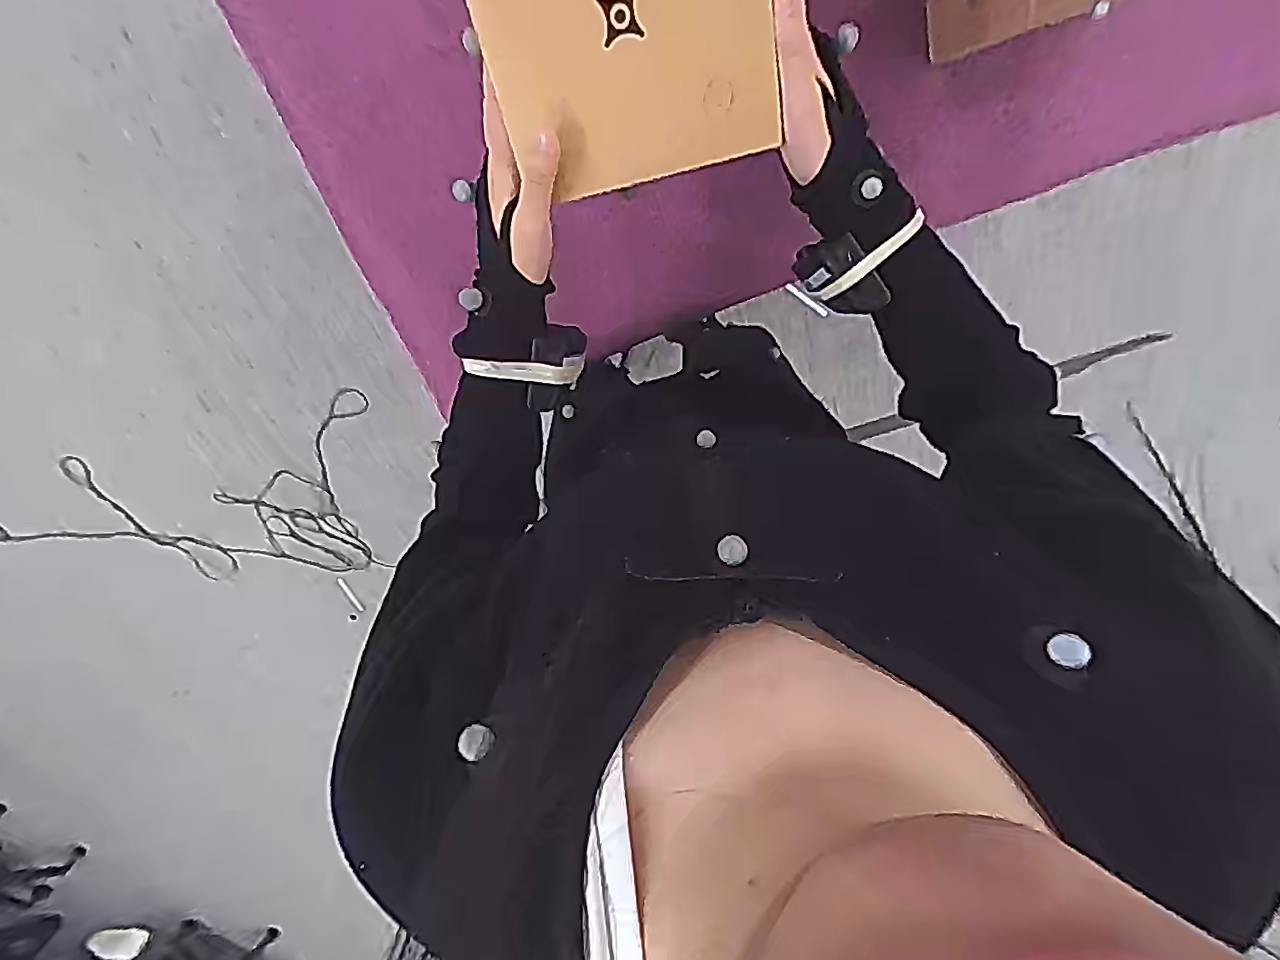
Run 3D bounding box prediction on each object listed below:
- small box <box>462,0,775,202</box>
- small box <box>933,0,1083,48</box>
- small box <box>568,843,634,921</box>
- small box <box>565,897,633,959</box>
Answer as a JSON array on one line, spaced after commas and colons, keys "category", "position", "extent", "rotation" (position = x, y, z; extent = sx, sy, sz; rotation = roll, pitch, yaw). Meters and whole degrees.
[{"category": "small box", "position": [-0.010, -0.307, 0.355], "extent": [0.168, 0.176, 0.179], "rotation": [-9, 124, 9]}, {"category": "small box", "position": [0.367, -0.506, 0.455], "extent": [0.179, 0.176, 0.168], "rotation": [-17, 116, 6]}, {"category": "small box", "position": [-0.128, 1.380, 1.835], "extent": [0.168, 0.176, 0.179], "rotation": [25, 112, -13]}, {"category": "small box", "position": [-0.126, 1.455, 1.689], "extent": [0.168, 0.176, 0.179], "rotation": [25, 113, -14]}]
